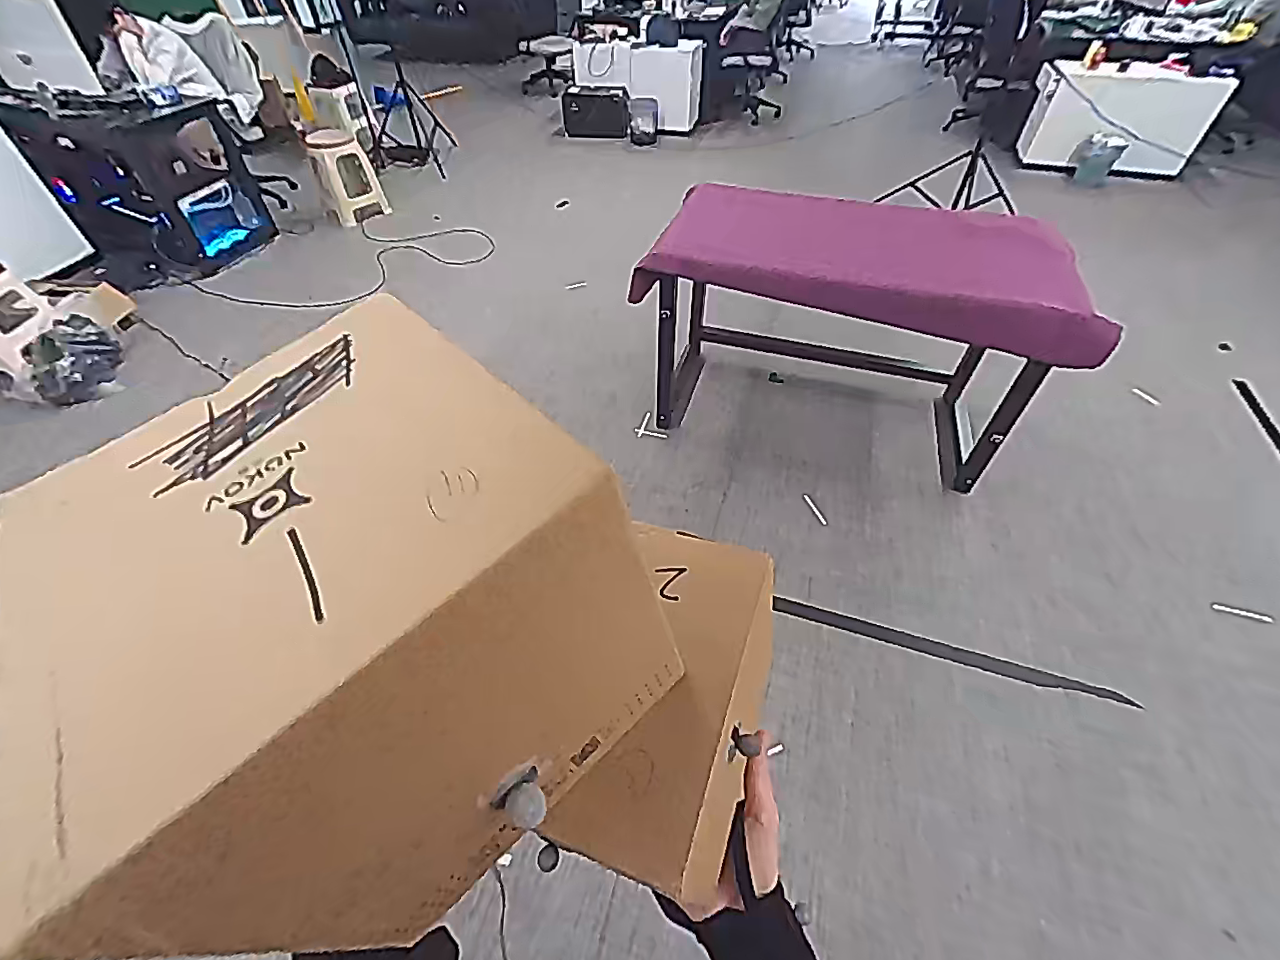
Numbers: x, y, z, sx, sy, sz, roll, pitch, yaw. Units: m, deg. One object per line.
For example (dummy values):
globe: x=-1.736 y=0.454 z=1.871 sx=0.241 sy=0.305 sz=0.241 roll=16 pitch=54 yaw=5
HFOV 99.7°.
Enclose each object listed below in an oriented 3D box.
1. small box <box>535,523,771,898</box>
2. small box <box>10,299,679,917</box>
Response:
small box: x=-0.011 y=0.145 z=0.361 sx=0.168 sy=0.176 sz=0.179 roll=11 pitch=53 yaw=21
small box: x=-0.104 y=0.053 z=0.244 sx=0.168 sy=0.176 sz=0.179 roll=-40 pitch=53 yaw=-18
